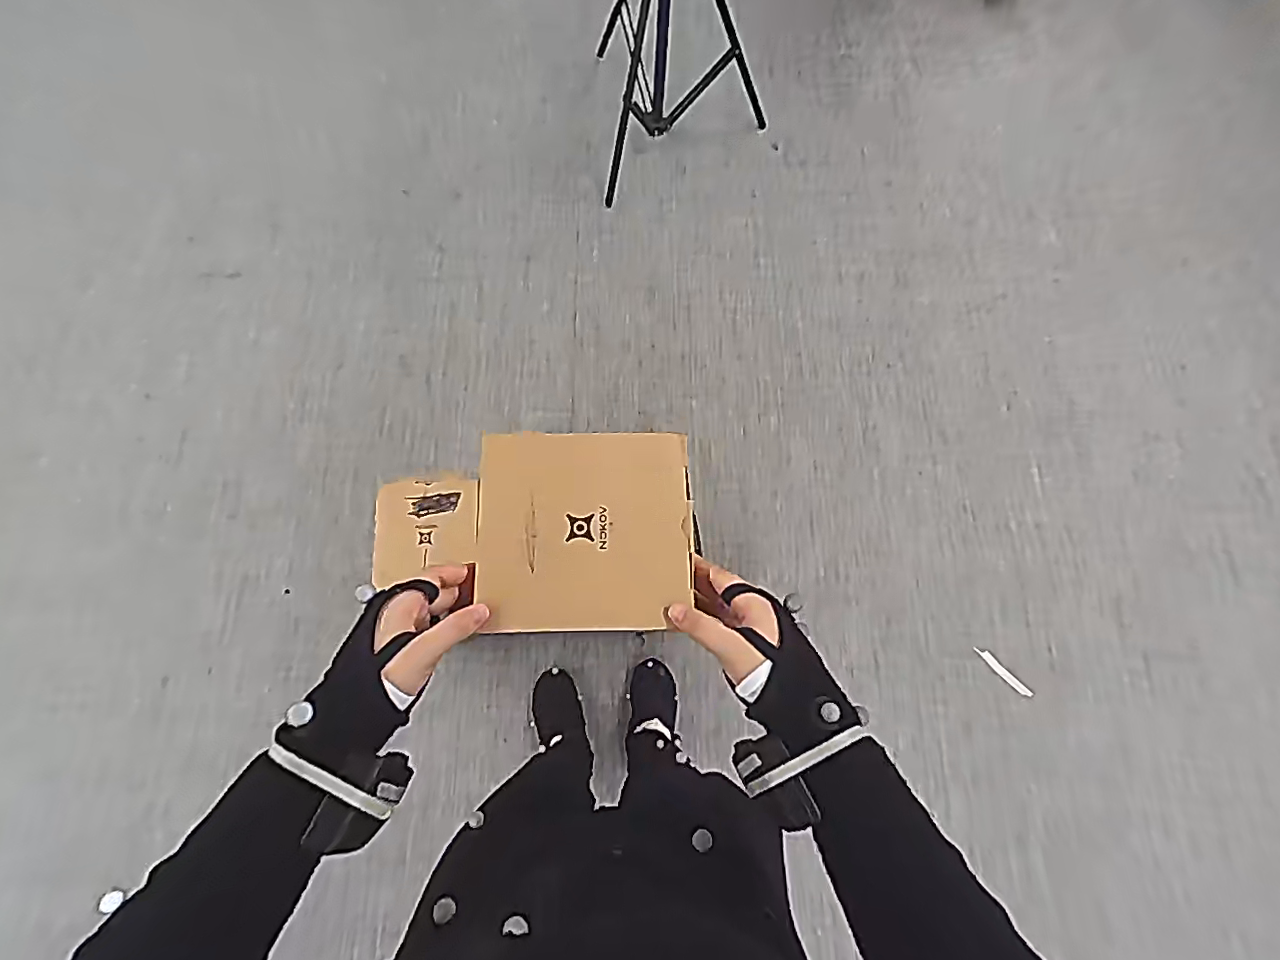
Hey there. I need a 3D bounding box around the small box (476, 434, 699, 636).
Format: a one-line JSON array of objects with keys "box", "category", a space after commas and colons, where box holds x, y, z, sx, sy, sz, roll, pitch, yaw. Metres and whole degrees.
[{"box": [-0.045, 0.062, 0.519, 0.179, 0.176, 0.168, -2, 73, -2], "category": "small box"}]

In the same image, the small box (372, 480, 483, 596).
[{"box": [-0.343, 0.107, 0.945, 0.168, 0.176, 0.179, -3, 75, -2], "category": "small box"}]

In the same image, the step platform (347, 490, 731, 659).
[{"box": [-0.179, 0.188, 1.061, 0.684, 0.204, 0.286, -1, 74, -2], "category": "step platform"}]
